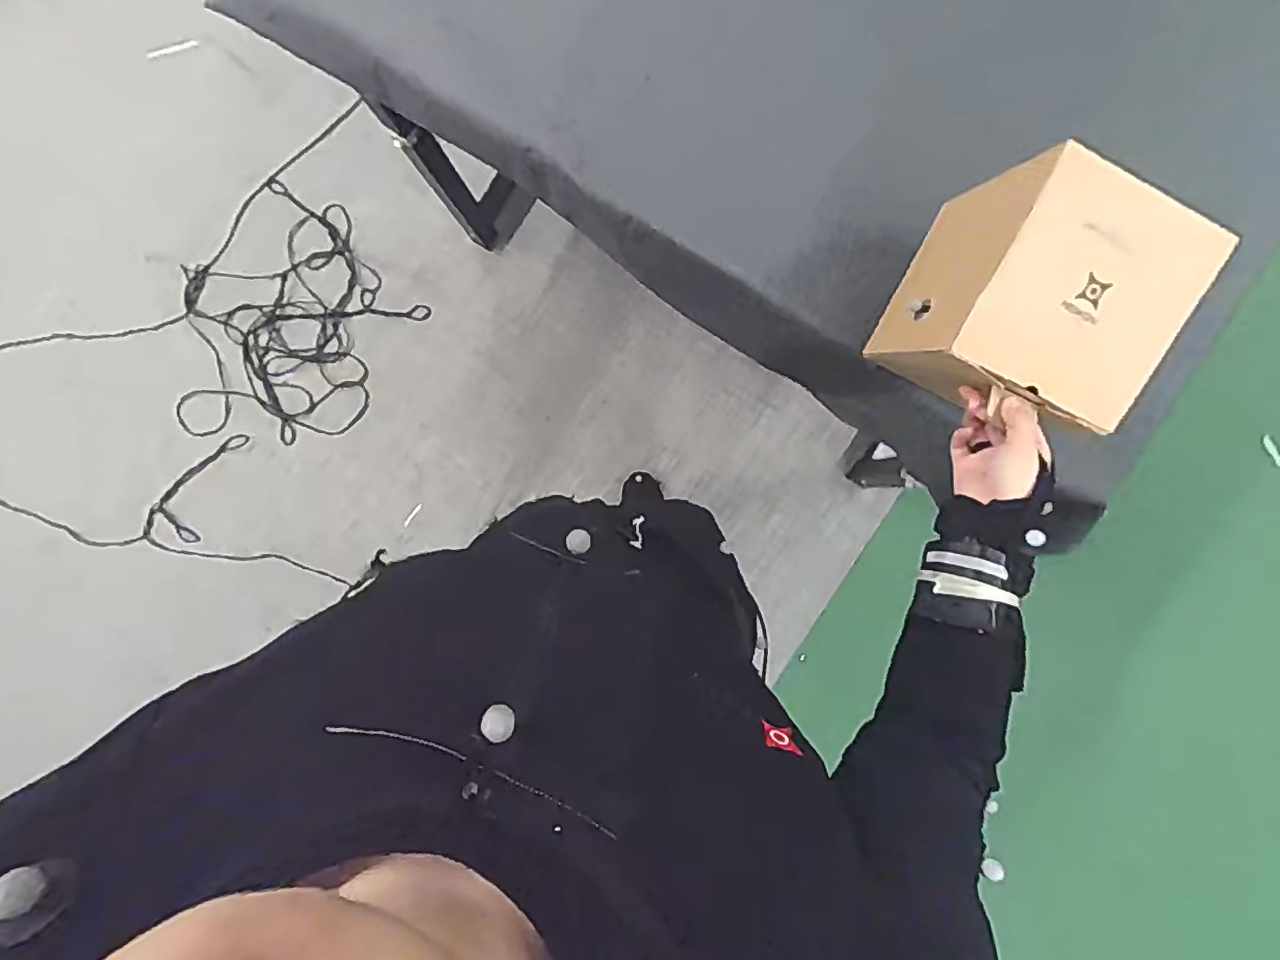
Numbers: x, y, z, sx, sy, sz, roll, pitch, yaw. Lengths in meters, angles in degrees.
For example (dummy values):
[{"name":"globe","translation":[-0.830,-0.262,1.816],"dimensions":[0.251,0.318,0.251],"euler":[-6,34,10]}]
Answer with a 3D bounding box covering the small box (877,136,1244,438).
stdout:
[{"name":"small box","translation":[0.350,-0.159,0.496],"dimensions":[0.168,0.176,0.179],"euler":[24,100,-7]}]
